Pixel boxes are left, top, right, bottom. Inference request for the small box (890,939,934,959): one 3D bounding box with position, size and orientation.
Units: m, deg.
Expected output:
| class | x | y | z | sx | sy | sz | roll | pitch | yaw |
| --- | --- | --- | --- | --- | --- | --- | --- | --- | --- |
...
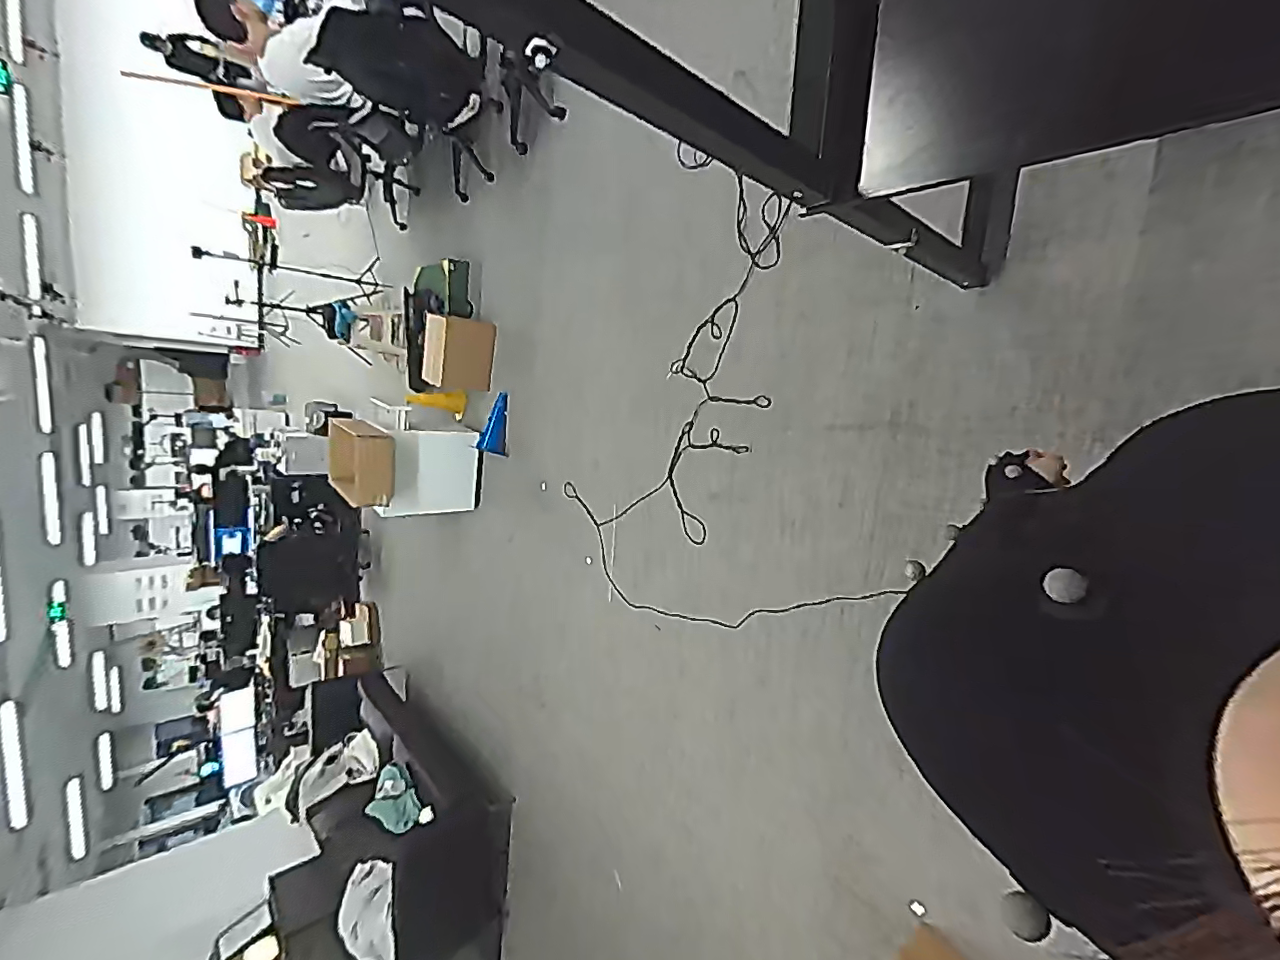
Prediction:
| class | x | y | z | sx | sy | sz | roll | pitch | yaw |
| --- | --- | --- | --- | --- | --- | --- | --- | --- | --- |
| small box | 0.685 | 1.316 | 1.343 | 0.168 | 0.176 | 0.179 | 25 | 110 | 45 |
